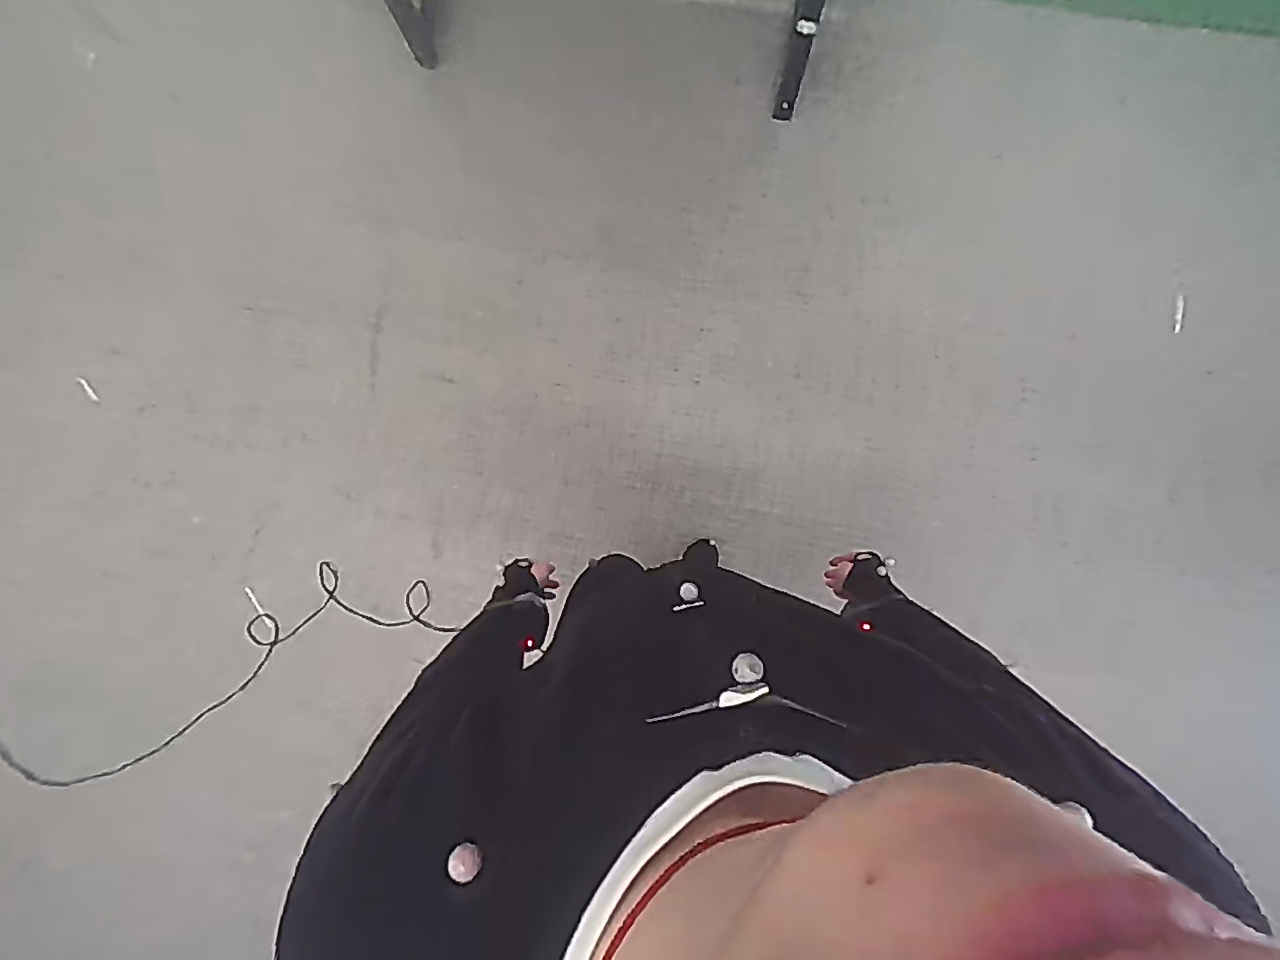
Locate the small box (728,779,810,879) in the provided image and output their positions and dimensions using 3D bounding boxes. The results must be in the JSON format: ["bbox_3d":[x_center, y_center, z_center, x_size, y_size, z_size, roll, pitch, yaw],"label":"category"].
[{"bbox_3d":[0.333,0.933,1.429,0.168,0.176,0.179,12,87,3],"label":"small box"}]
